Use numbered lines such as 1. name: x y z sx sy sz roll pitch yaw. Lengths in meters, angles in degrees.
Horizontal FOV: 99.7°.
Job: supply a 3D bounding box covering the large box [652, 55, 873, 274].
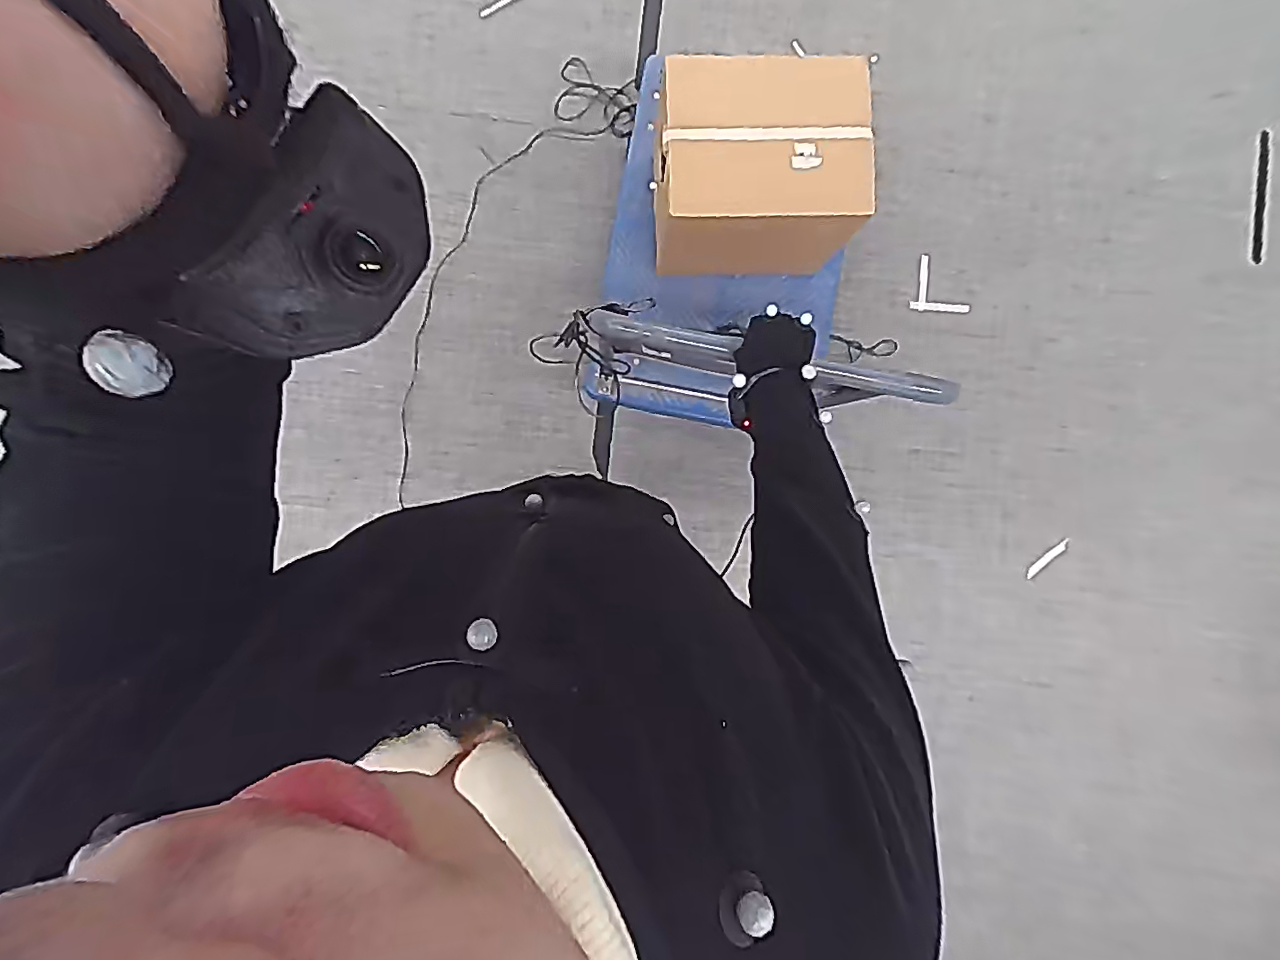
1. large box: 0.242 -0.666 1.191 0.408 0.320 0.320 -2 91 -3
